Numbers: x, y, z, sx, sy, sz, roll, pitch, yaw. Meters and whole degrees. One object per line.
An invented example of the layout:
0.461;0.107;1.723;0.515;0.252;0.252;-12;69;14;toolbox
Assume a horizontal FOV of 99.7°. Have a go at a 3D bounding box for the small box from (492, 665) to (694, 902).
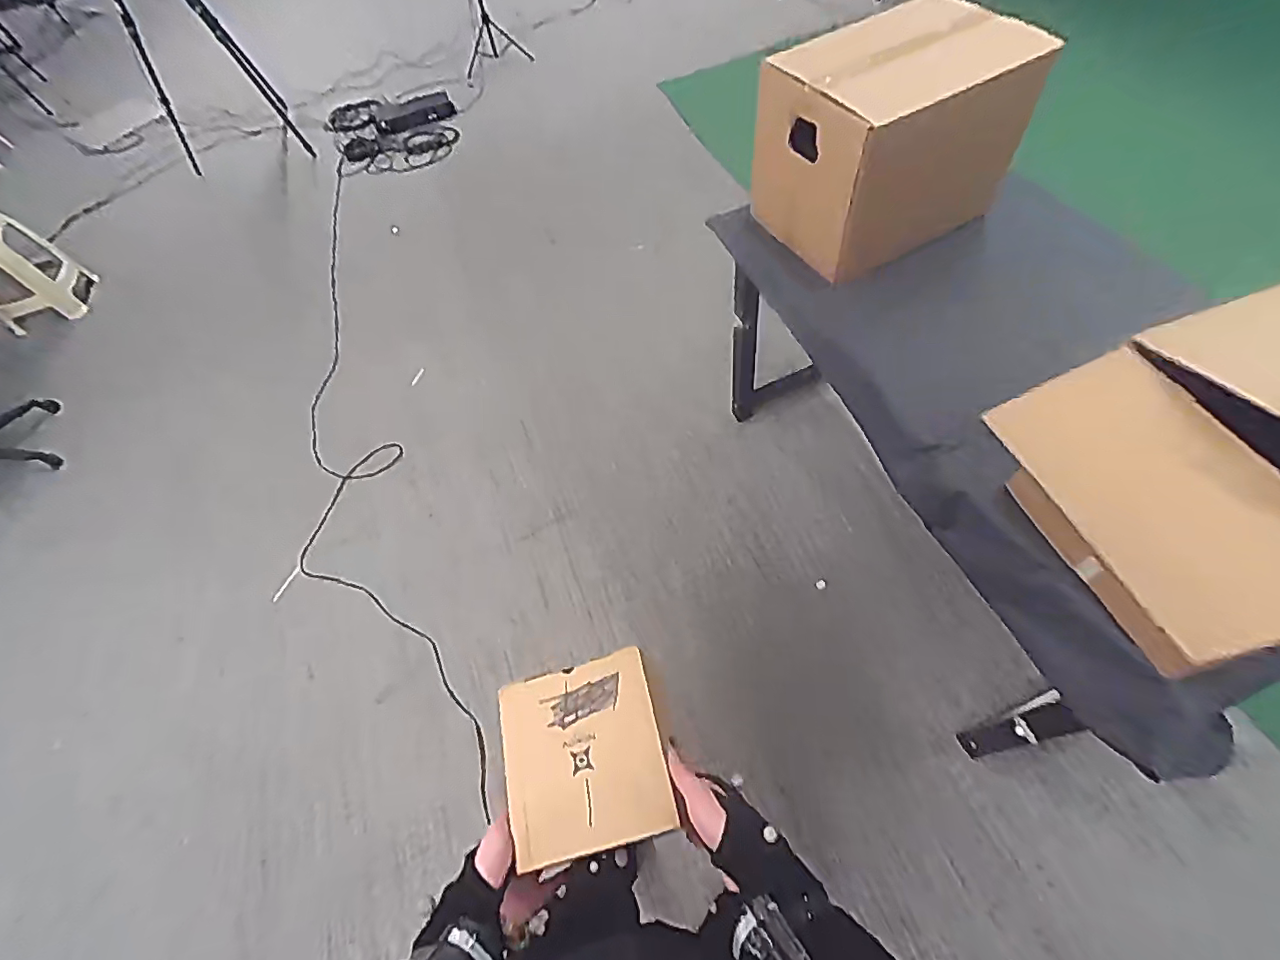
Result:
-0.047;0.329;0.597;0.168;0.176;0.179;-18;58;3;small box
